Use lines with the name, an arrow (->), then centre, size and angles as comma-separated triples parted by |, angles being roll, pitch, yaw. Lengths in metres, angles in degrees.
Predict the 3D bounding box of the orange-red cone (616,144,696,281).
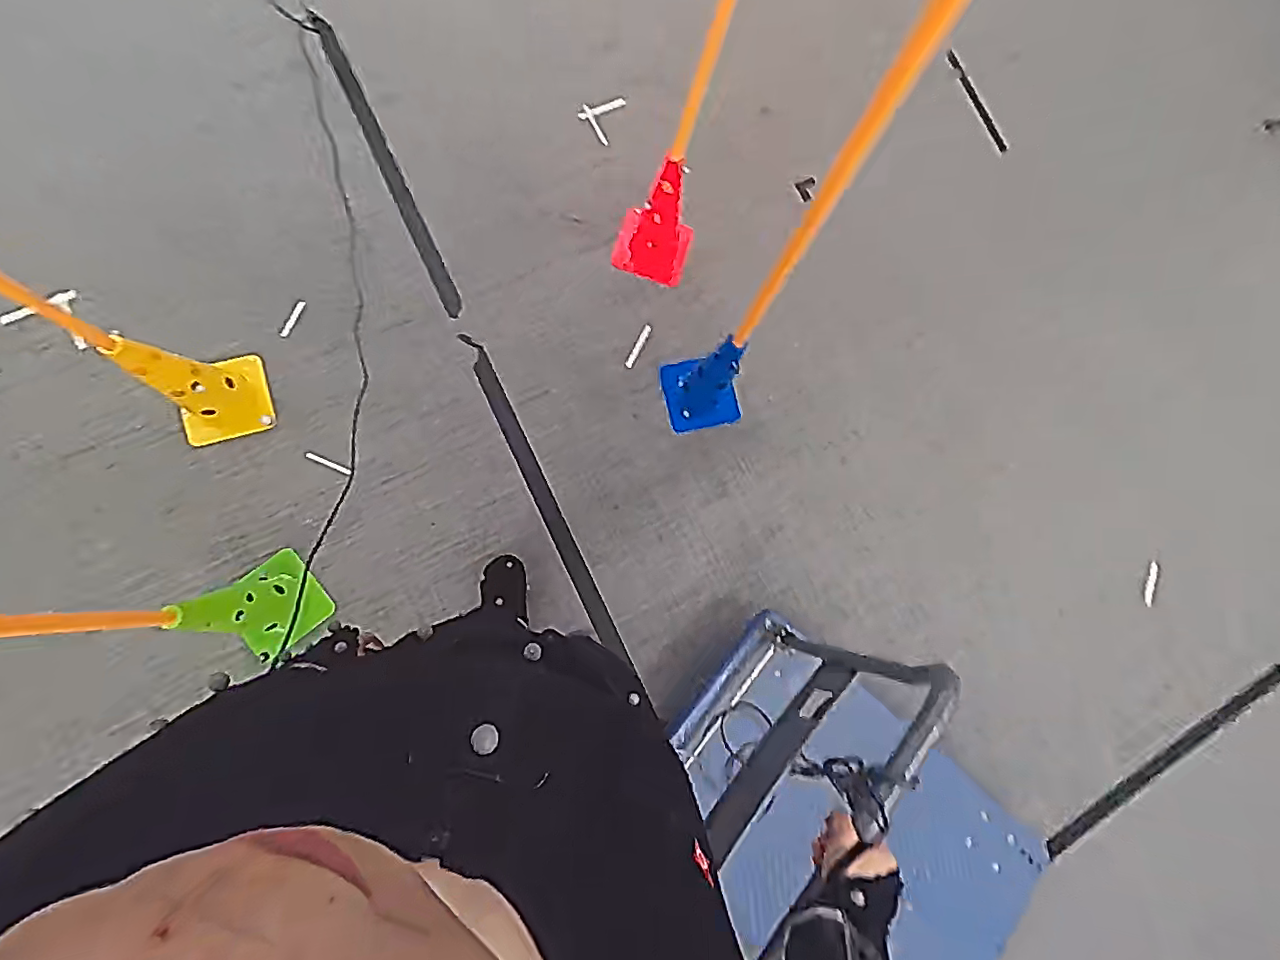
orange-red cone -> 0.067, -0.703, 1.375 | 0.198, 0.360, 0.199 | 20, 80, -3

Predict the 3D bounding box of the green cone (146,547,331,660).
green cone -> -0.838, 0.257, 1.097 | 0.200, 0.368, 0.202 | -39, 86, -12

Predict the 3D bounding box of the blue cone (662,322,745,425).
blue cone -> 0.188, -0.279, 1.335 | 0.193, 0.380, 0.192 | -10, 81, -9
